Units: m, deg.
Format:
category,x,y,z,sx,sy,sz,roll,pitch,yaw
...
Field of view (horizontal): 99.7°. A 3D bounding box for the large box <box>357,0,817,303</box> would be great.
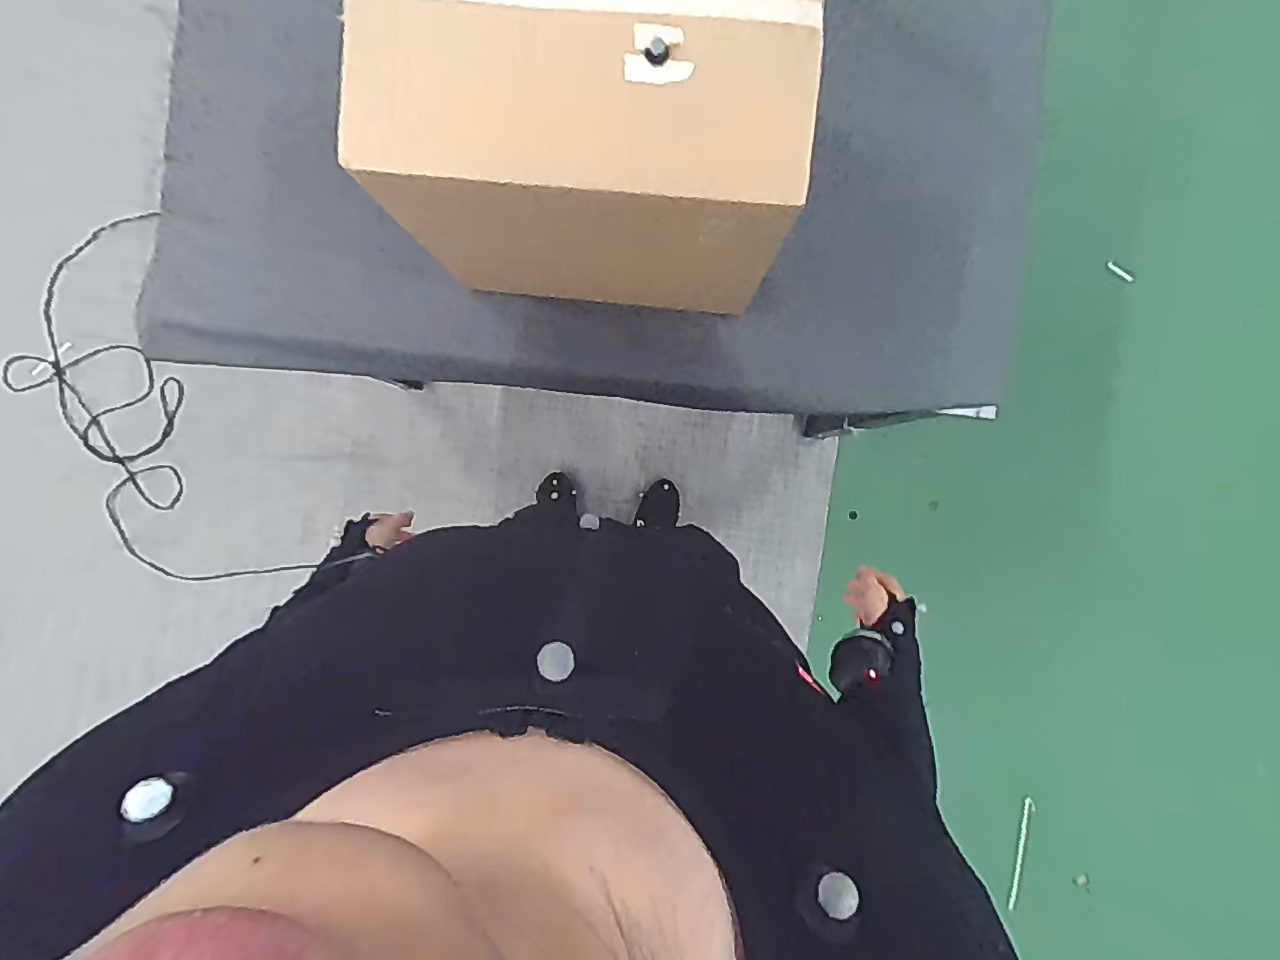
category,x,y,z,sx,sy,sz,roll,pitch,yaw
large box,-0.043,-0.414,0.622,0.408,0.320,0.320,5,91,0
